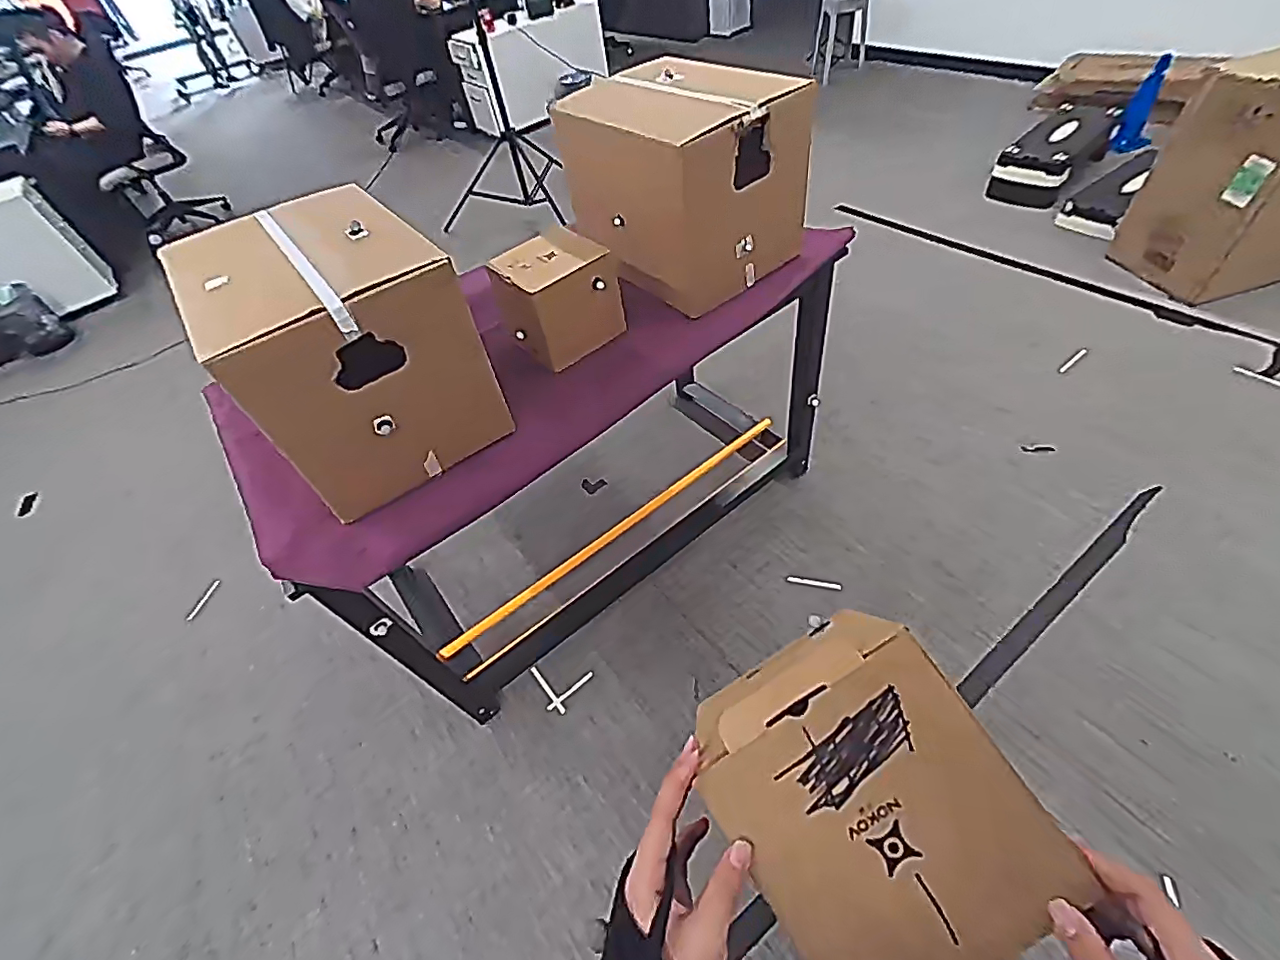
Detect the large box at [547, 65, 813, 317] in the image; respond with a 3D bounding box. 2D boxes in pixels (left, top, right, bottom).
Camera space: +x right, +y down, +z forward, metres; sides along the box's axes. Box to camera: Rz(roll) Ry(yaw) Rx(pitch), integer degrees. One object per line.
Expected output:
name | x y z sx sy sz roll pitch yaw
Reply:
large box | 0.083 -0.588 1.089 0.320 0.320 0.408 -35 52 -19
